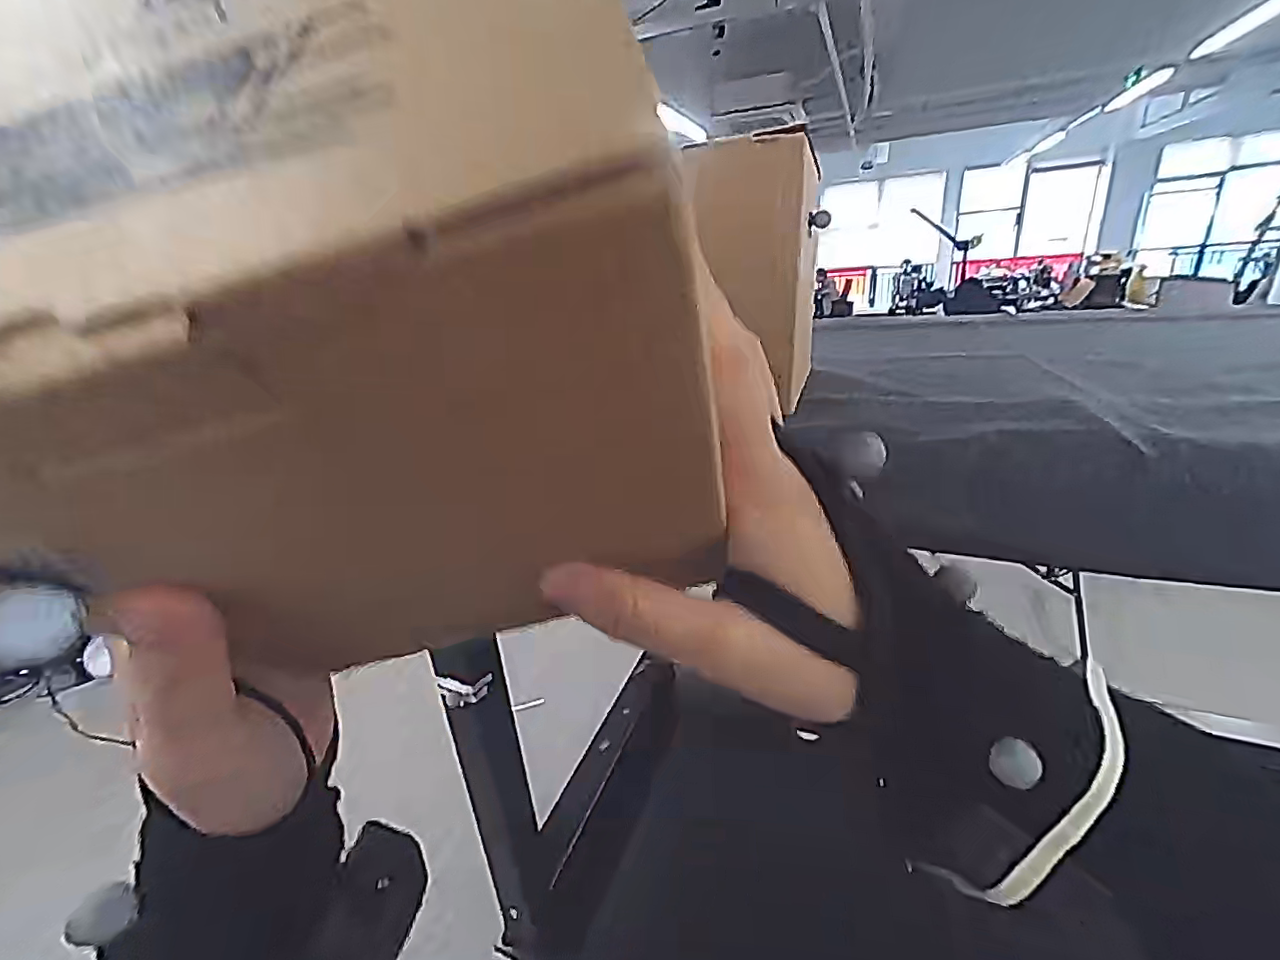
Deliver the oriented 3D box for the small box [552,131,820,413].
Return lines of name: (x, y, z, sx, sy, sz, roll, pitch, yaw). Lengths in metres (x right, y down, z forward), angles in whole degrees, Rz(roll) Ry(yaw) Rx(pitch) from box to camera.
small box: (0.050, -0.154, 0.434, 0.168, 0.176, 0.179, 5, 21, 20)
